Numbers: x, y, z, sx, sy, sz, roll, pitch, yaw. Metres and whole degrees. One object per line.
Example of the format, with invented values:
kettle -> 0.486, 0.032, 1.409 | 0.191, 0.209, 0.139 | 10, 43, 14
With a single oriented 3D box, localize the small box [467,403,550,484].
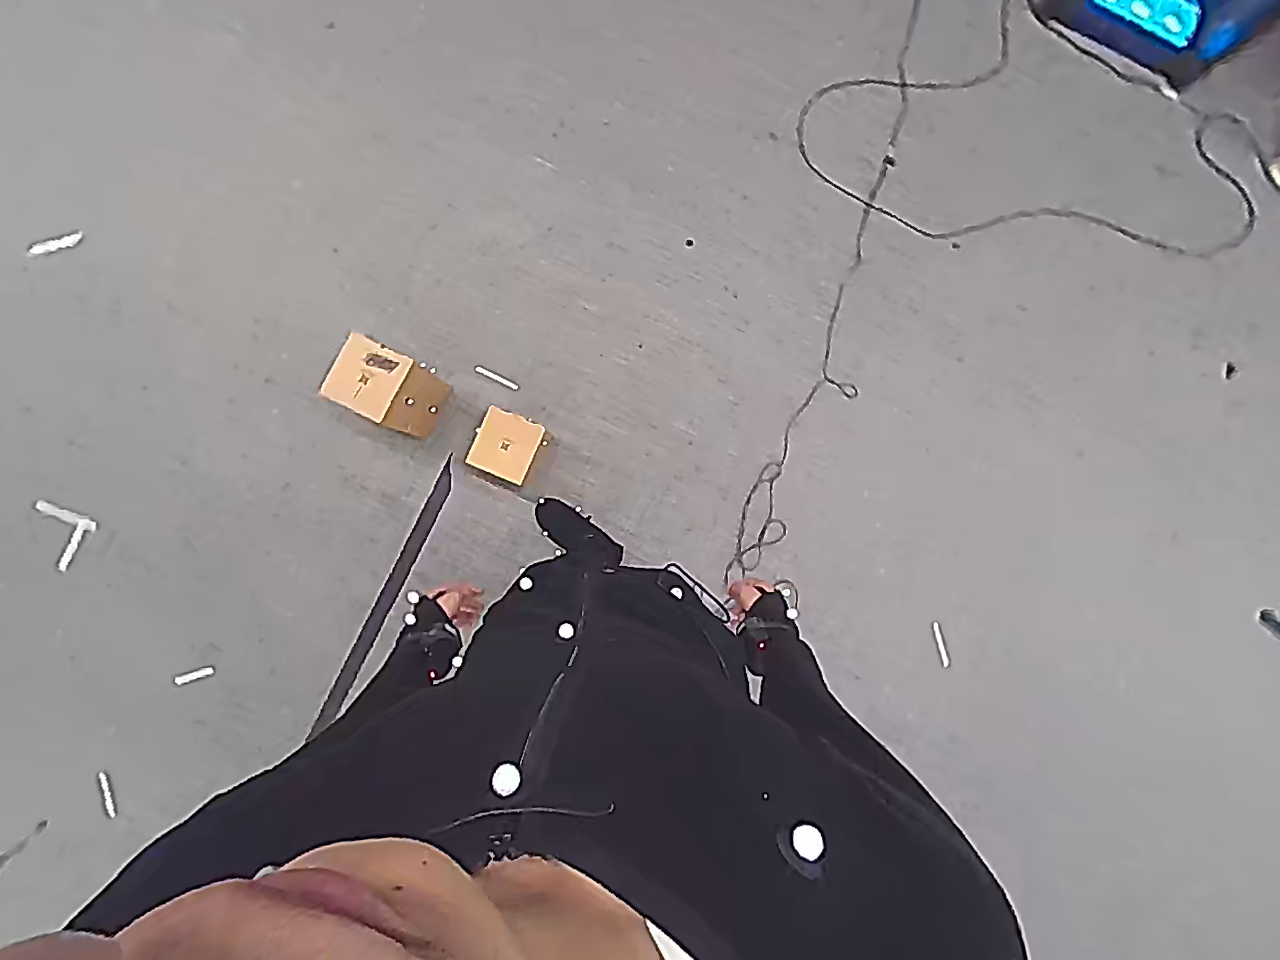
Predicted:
small box -> -0.367, -0.096, 1.551 | 0.168, 0.176, 0.179 | 23, 86, -3

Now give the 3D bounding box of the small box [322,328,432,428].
small box -> -0.652, -0.250, 1.371 | 0.168, 0.176, 0.179 | 27, 87, -2
